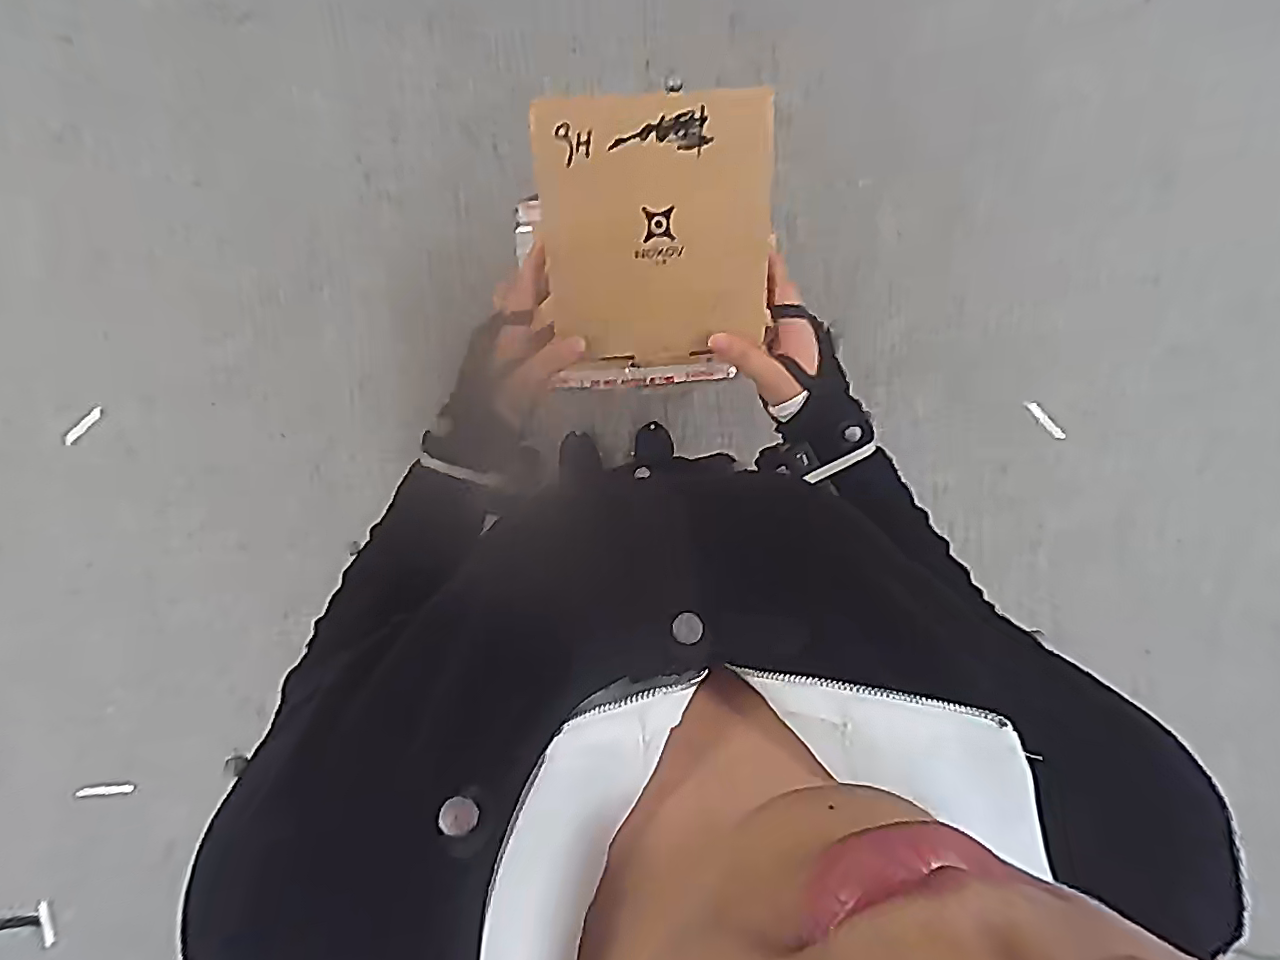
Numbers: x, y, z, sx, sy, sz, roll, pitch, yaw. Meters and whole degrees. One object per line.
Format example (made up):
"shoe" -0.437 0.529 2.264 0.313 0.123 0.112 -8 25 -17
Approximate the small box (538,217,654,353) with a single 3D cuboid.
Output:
"small box" -0.069 -0.311 0.890 0.168 0.176 0.179 -5 100 -1

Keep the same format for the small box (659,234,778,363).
"small box" 0.124 -0.294 0.904 0.168 0.176 0.179 -4 98 -4
